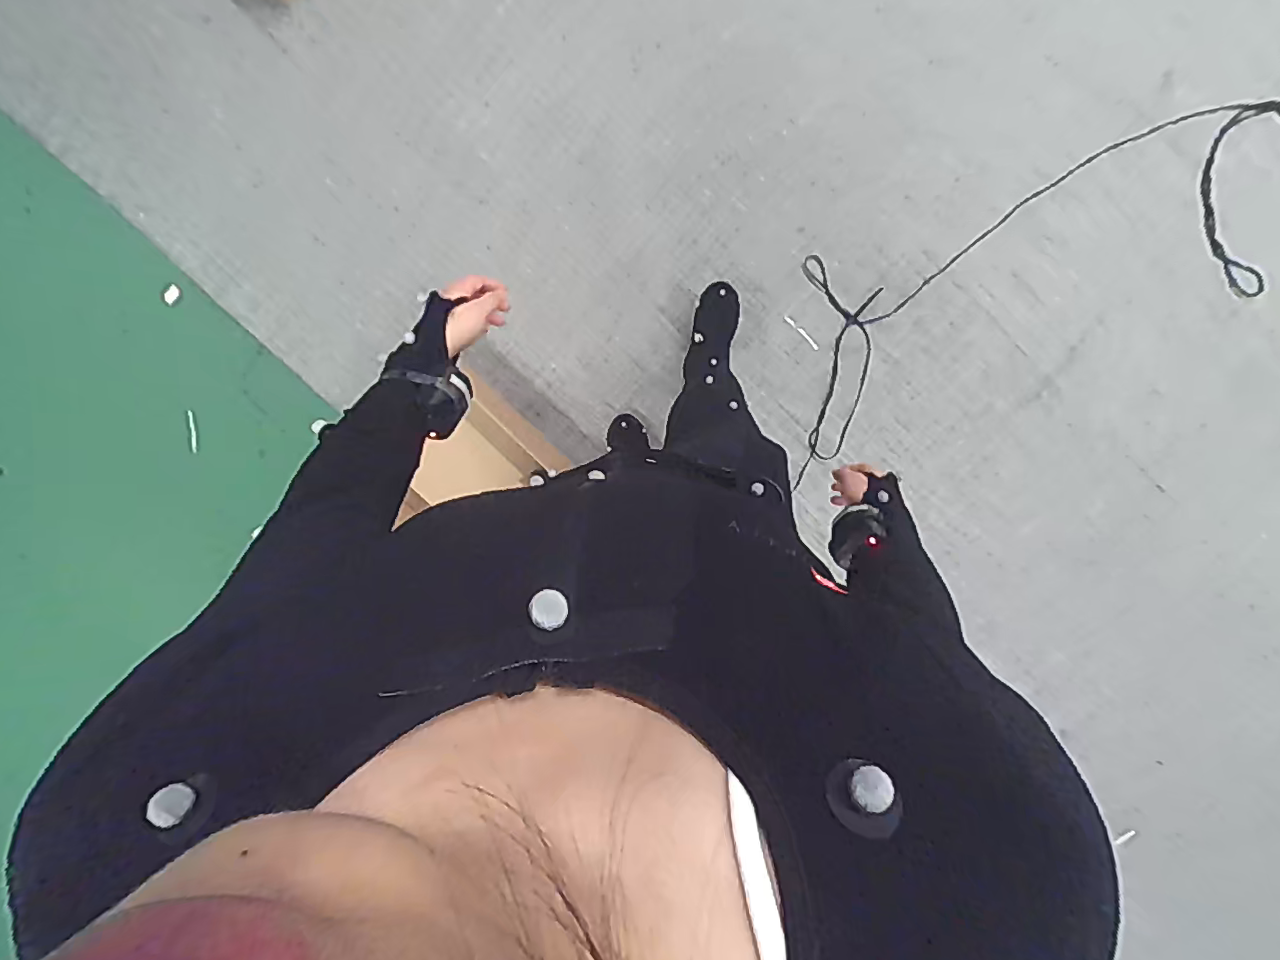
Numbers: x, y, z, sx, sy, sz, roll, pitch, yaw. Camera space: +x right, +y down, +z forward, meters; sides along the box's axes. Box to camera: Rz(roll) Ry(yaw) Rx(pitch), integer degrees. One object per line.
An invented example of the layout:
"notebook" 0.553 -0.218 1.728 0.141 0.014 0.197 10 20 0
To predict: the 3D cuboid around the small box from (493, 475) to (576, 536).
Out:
"small box" -0.281 0.109 1.380 0.168 0.176 0.179 40 98 -4
